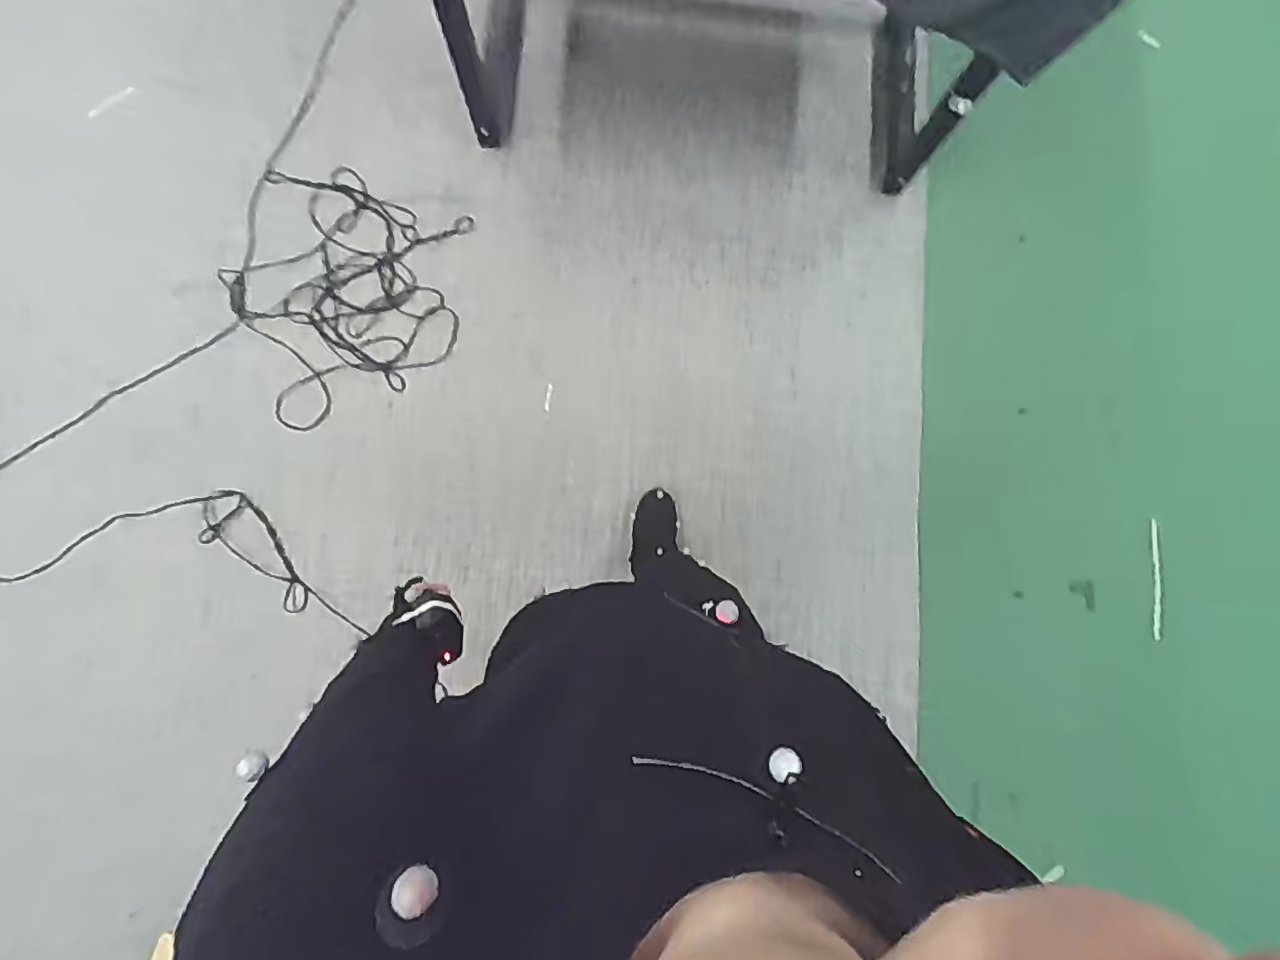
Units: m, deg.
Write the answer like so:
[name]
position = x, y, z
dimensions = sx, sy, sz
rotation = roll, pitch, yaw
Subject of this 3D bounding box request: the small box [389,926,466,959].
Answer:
[small box]
position = -0.489, 1.108, 1.132
dimensions = 0.168, 0.176, 0.179
rotation = 30, 82, 1
